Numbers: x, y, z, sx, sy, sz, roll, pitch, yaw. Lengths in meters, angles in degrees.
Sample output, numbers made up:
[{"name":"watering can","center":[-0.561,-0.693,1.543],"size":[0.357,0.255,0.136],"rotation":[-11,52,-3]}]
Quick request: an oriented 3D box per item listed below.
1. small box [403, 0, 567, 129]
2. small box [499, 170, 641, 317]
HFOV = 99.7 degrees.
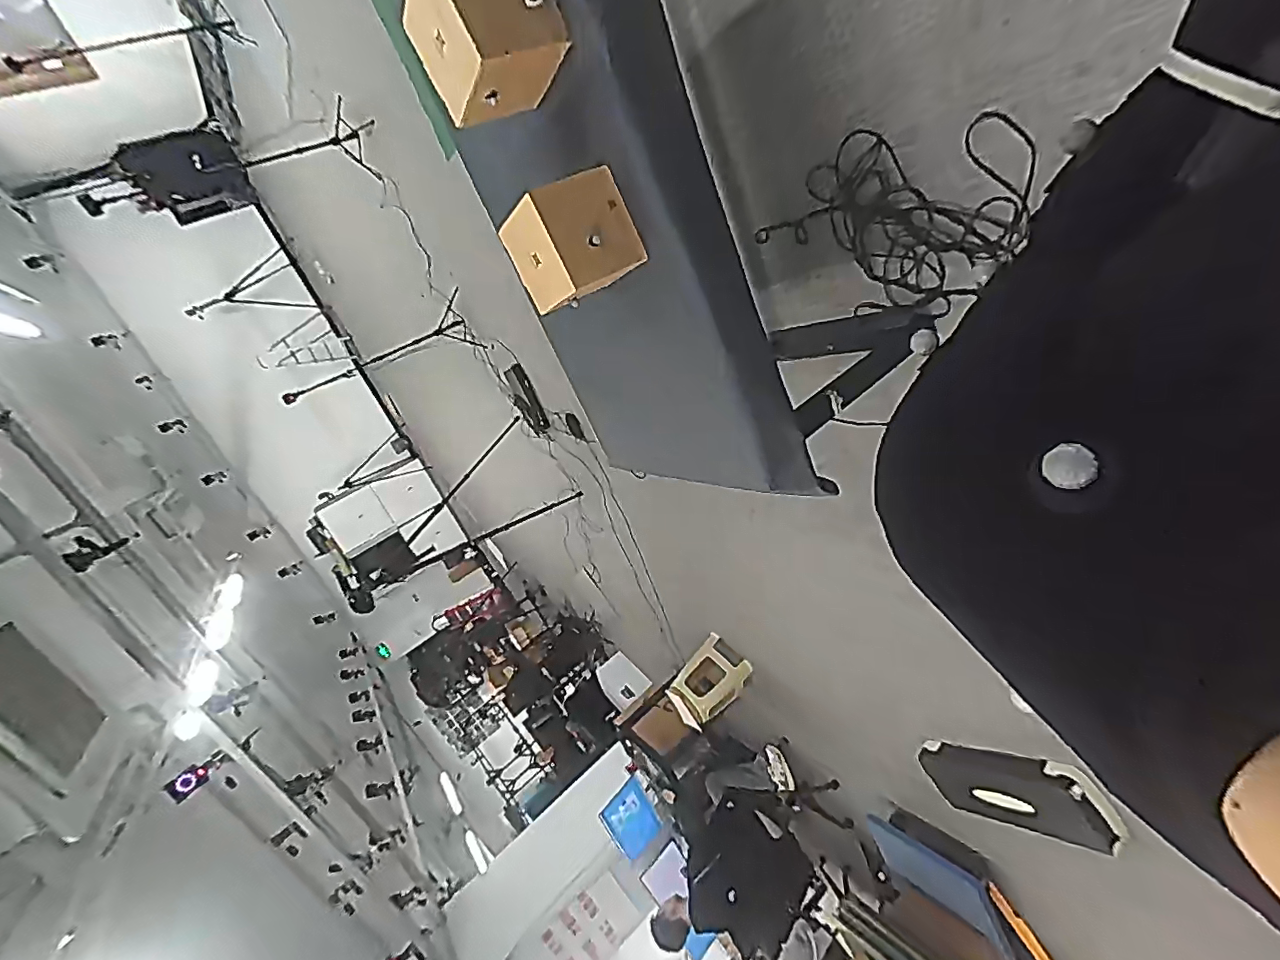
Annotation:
[{"name":"small box","center":[-0.239,-0.695,0.842],"size":[0.179,0.176,0.168],"rotation":[-1,121,60]},{"name":"small box","center":[-0.120,-0.421,0.970],"size":[0.179,0.176,0.168],"rotation":[3,125,60]}]
